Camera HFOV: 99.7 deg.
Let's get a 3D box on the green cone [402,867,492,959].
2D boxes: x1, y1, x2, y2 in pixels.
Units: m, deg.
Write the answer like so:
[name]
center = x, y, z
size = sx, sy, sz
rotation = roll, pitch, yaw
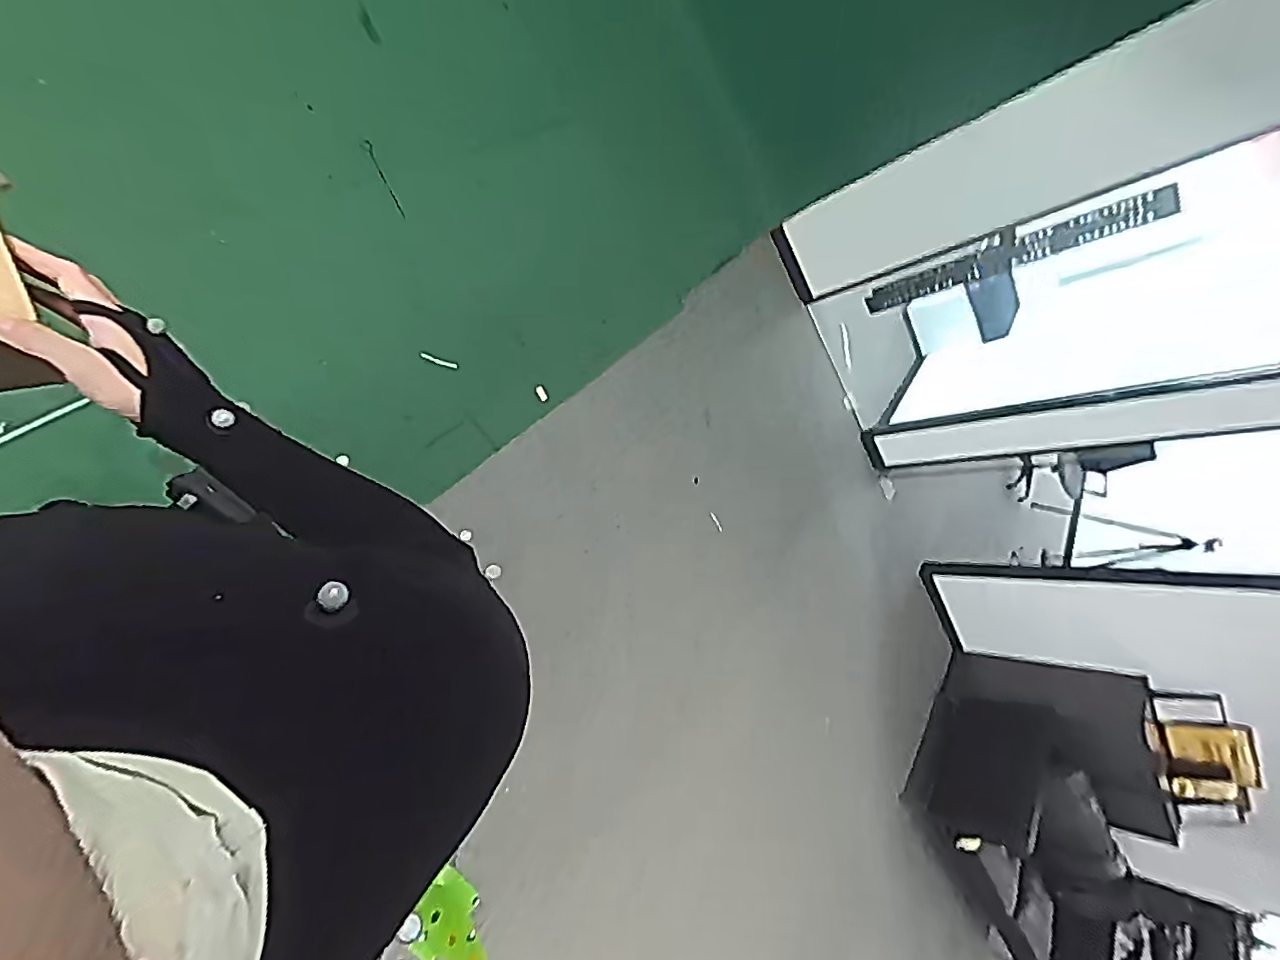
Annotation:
[green cone]
center = -0.449, 1.250, 1.435
size = 0.202, 0.368, 0.200
rotation = -45, 113, -33
